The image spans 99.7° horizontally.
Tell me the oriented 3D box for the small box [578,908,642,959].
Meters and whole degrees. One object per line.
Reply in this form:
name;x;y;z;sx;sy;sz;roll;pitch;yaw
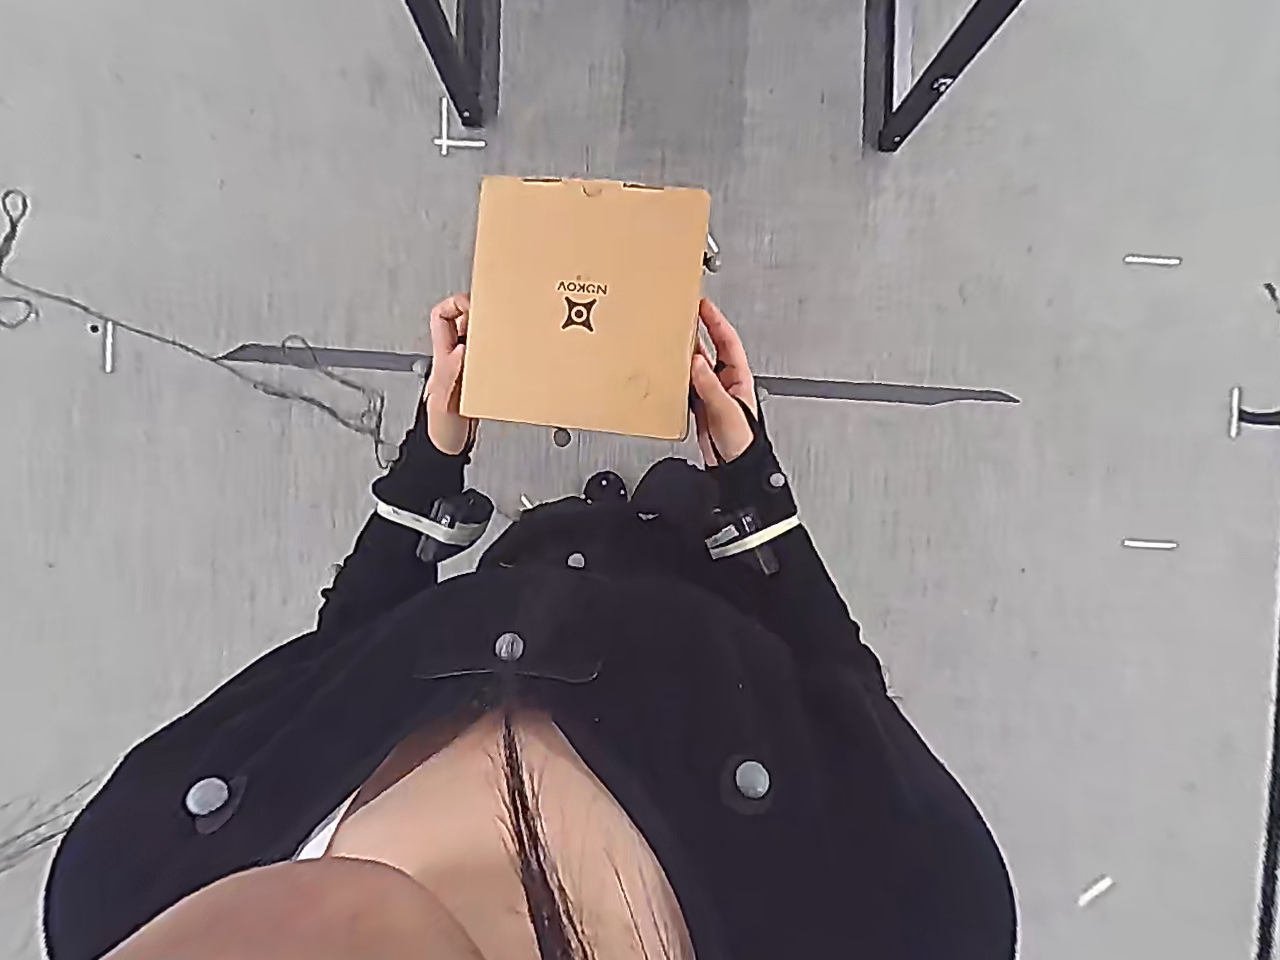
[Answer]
small box;-0.082;1.302;1.444;0.168;0.176;0.179;5;91;-3

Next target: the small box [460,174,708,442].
small box;-0.034;-0.127;0.463;0.168;0.176;0.179;7;93;5
